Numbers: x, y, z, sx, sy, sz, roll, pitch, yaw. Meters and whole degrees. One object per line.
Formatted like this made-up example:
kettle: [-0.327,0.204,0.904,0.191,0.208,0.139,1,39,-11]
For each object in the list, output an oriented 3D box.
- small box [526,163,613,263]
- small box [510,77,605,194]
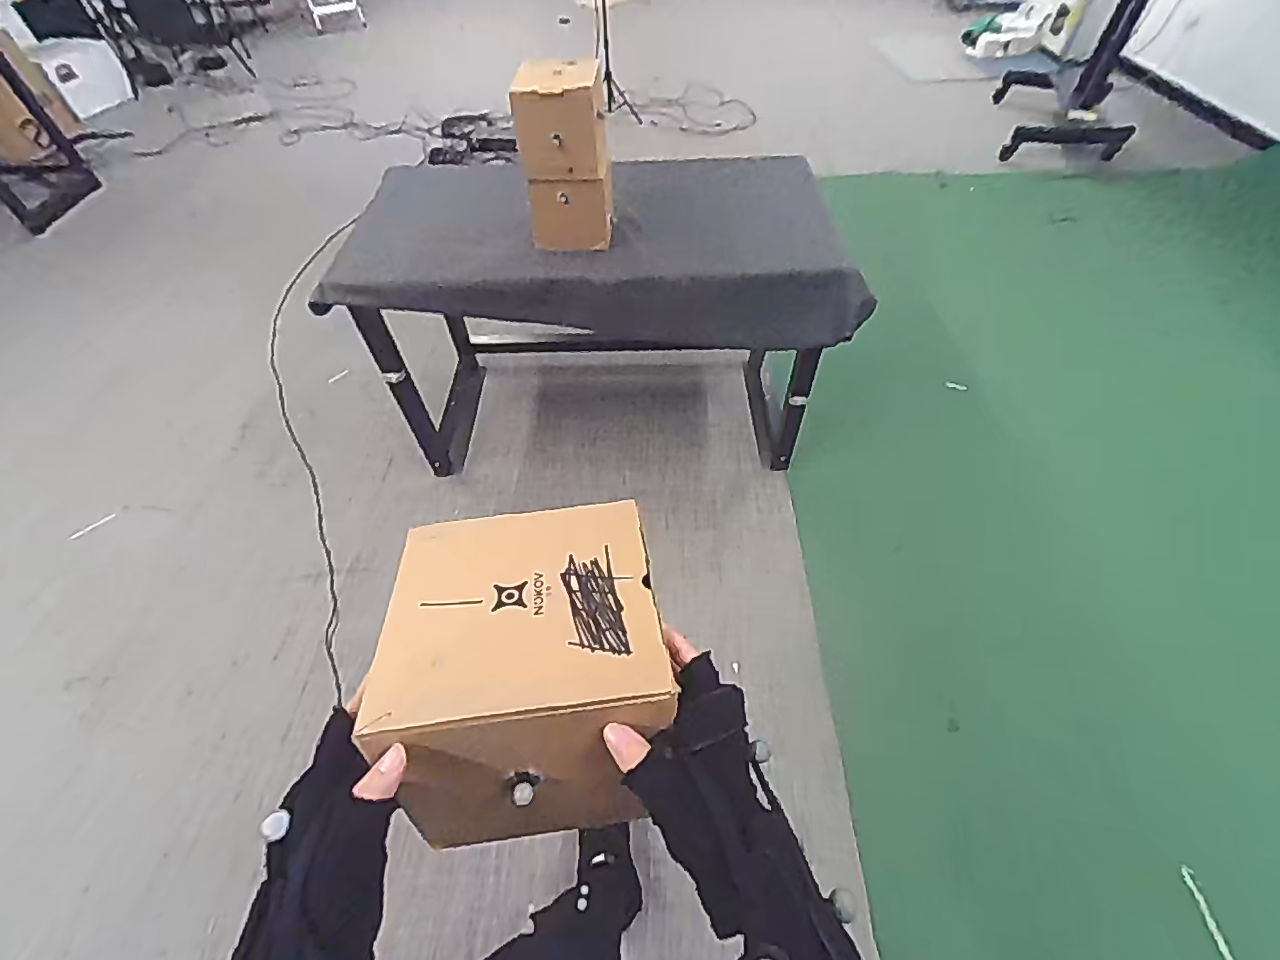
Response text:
small box: [-0.161,-0.637,1.295,0.179,0.176,0.168,1,52,1]
small box: [-0.167,-0.738,1.165,0.168,0.176,0.179,1,52,2]
